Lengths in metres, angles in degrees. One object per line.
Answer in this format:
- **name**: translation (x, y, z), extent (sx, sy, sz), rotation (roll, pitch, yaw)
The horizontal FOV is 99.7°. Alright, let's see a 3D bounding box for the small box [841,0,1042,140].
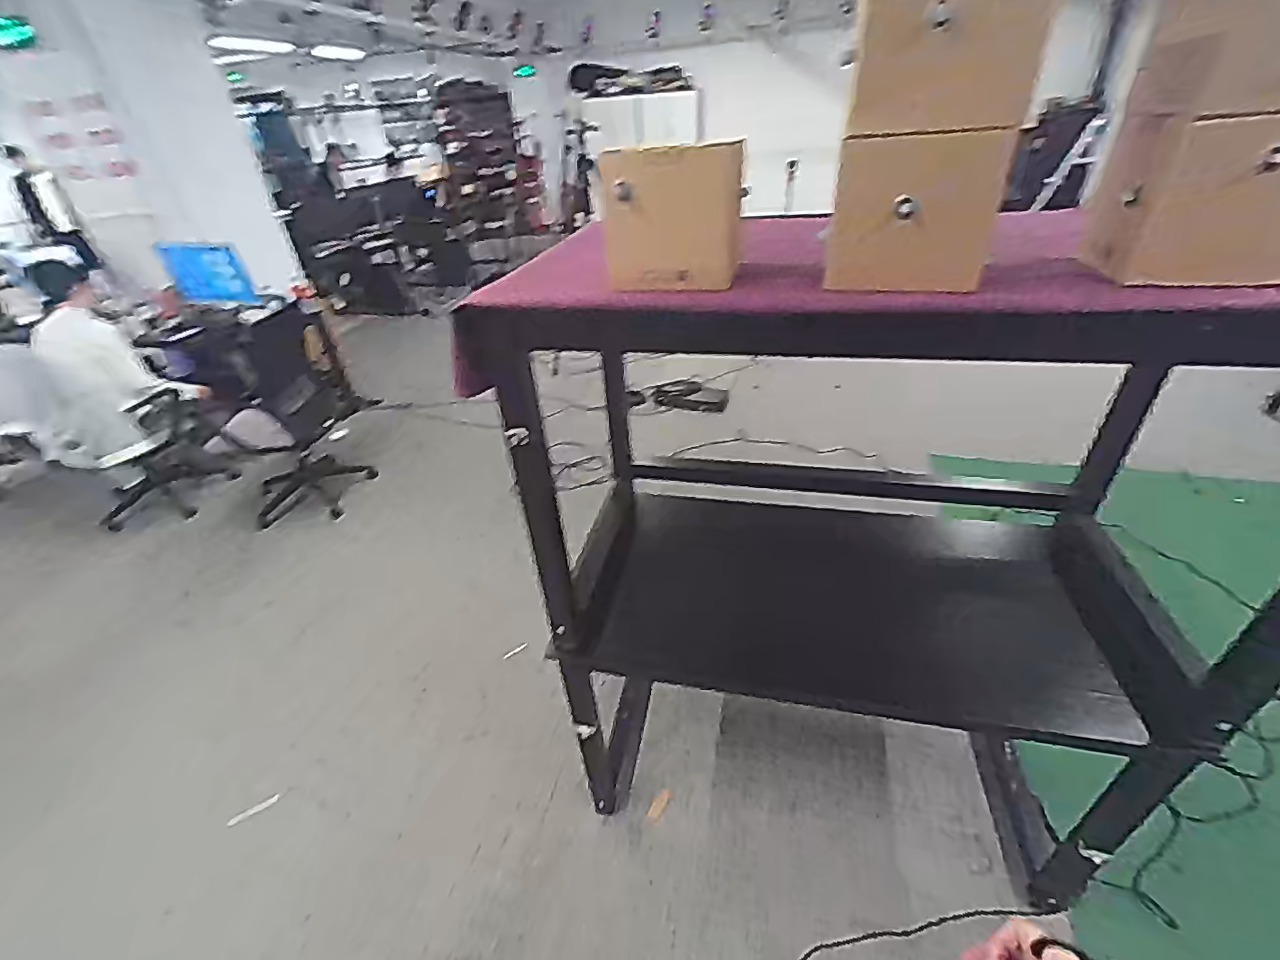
- **small box**: translation (0.322, -0.482, 0.600), extent (0.179, 0.176, 0.168), rotation (5, 35, 16)

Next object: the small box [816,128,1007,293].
- **small box**: translation (0.328, -0.342, 0.686), extent (0.179, 0.176, 0.168), rotation (6, 35, 18)

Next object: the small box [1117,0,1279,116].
- **small box**: translation (0.633, -0.467, 0.538), extent (0.168, 0.176, 0.179), rotation (5, 35, 16)

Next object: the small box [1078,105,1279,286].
- **small box**: translation (0.646, -0.327, 0.622), extent (0.179, 0.176, 0.168), rotation (6, 35, 16)
